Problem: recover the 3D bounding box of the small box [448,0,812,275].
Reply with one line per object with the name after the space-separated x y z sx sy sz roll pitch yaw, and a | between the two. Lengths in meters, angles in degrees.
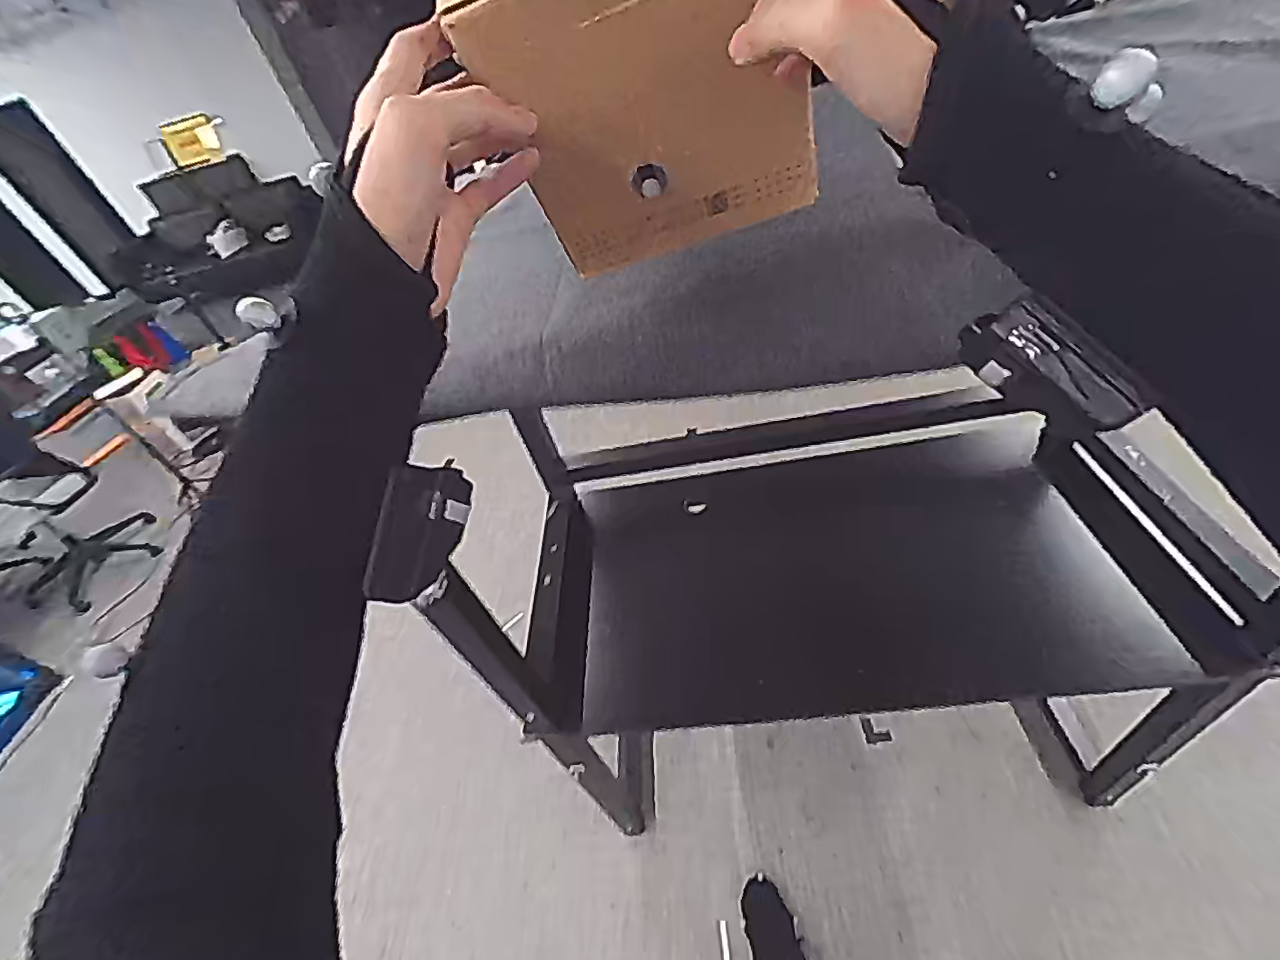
0.005 -0.269 0.341 0.168 0.176 0.179 -14 61 14 | small box
